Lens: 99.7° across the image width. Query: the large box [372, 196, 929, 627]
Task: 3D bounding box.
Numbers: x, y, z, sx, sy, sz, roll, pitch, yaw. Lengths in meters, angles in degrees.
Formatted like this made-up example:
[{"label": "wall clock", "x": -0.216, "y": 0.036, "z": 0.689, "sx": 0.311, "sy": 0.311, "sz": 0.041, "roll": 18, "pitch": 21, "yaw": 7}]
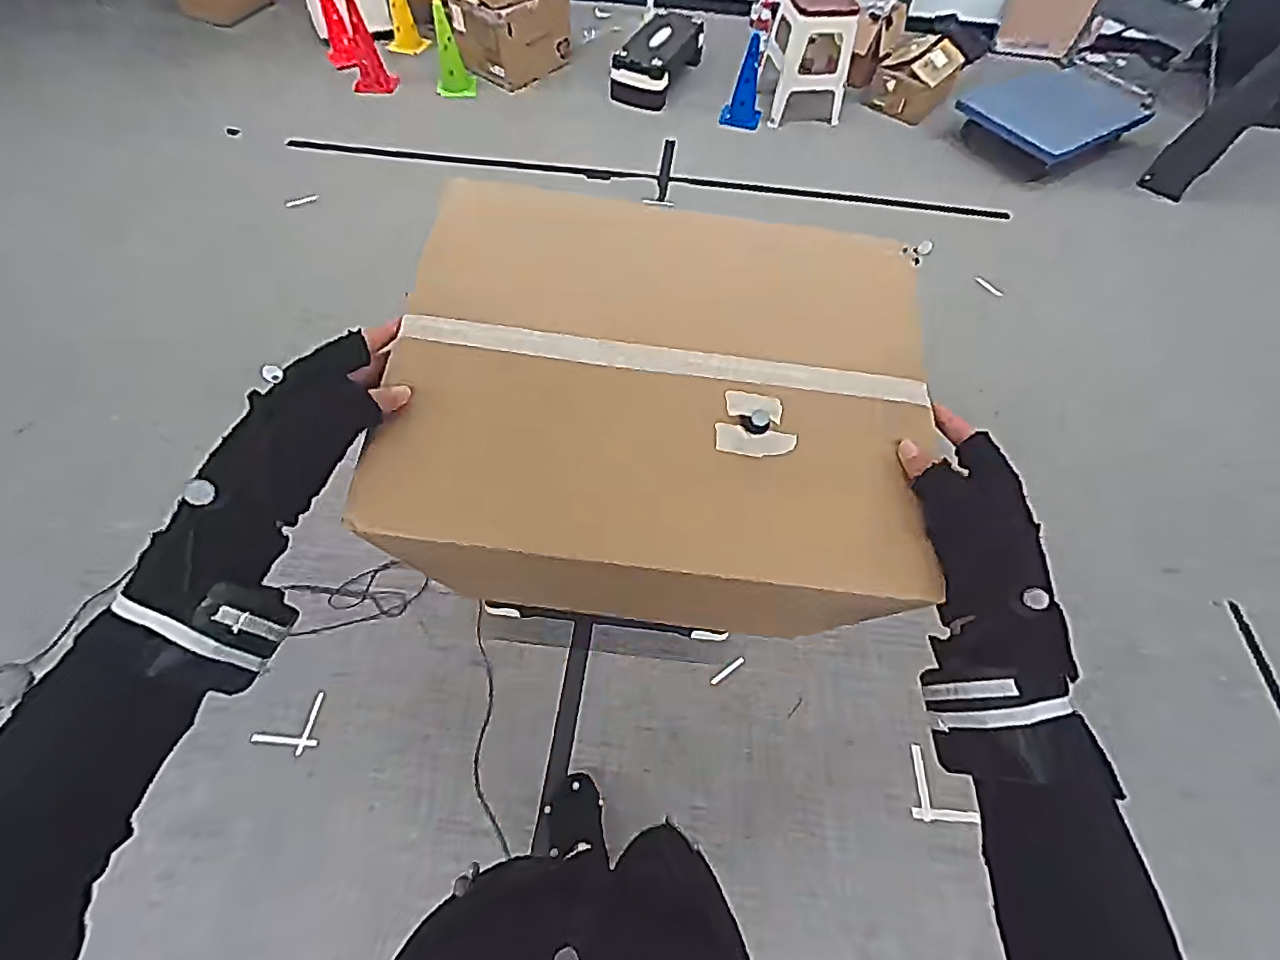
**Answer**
[{"label": "large box", "x": 0.012, "y": -0.035, "z": 0.567, "sx": 0.408, "sy": 0.320, "sz": 0.320, "roll": 8, "pitch": 70, "yaw": -2}]
